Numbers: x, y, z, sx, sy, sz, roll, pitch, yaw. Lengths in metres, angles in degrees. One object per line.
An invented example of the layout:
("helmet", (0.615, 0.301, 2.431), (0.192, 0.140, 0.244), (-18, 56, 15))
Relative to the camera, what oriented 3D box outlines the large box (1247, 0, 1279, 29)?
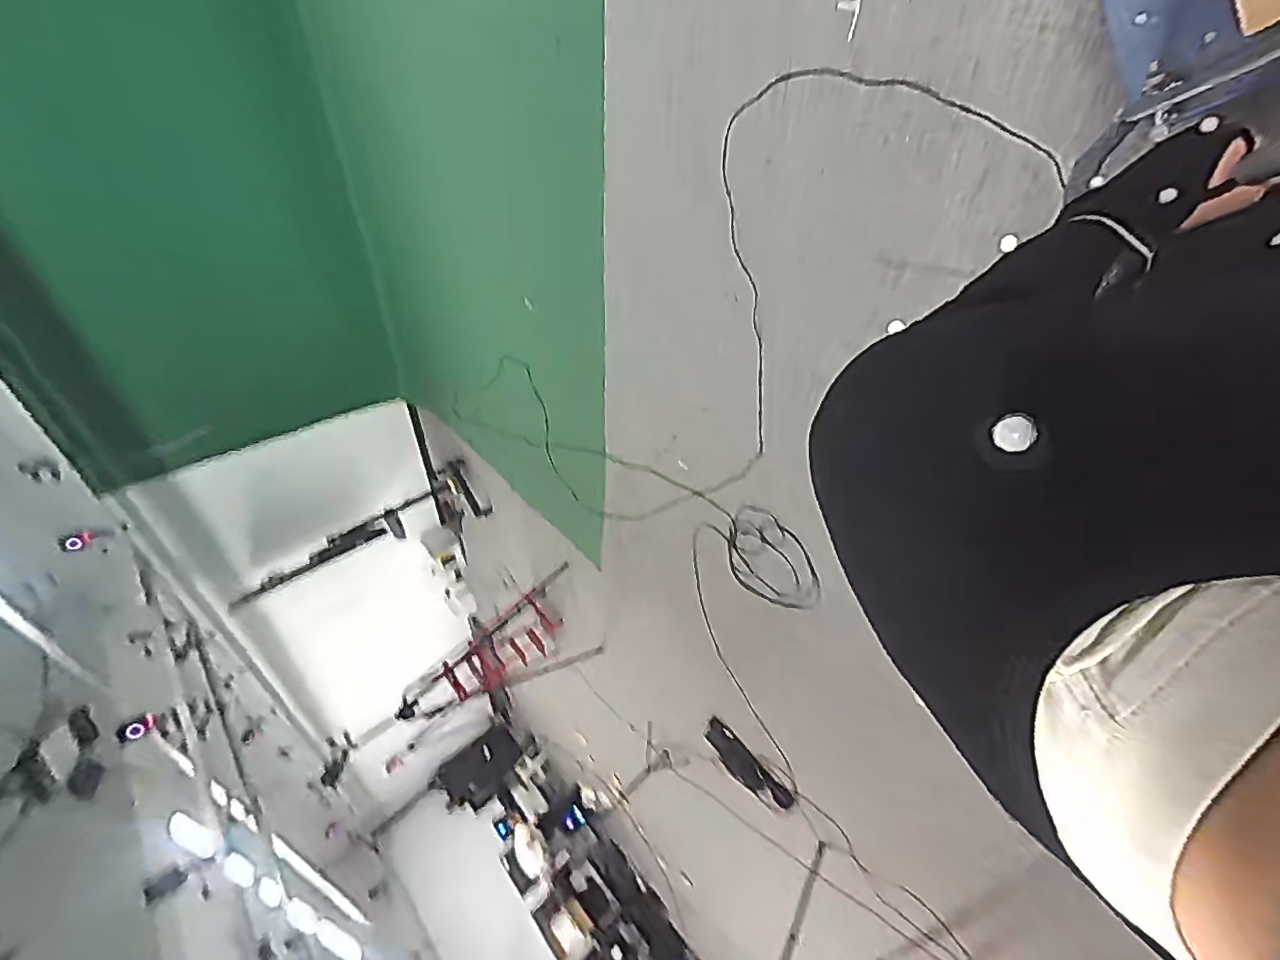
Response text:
("large box", (0.862, -0.807, 0.578), (0.320, 0.320, 0.408), (-10, 110, 55))
